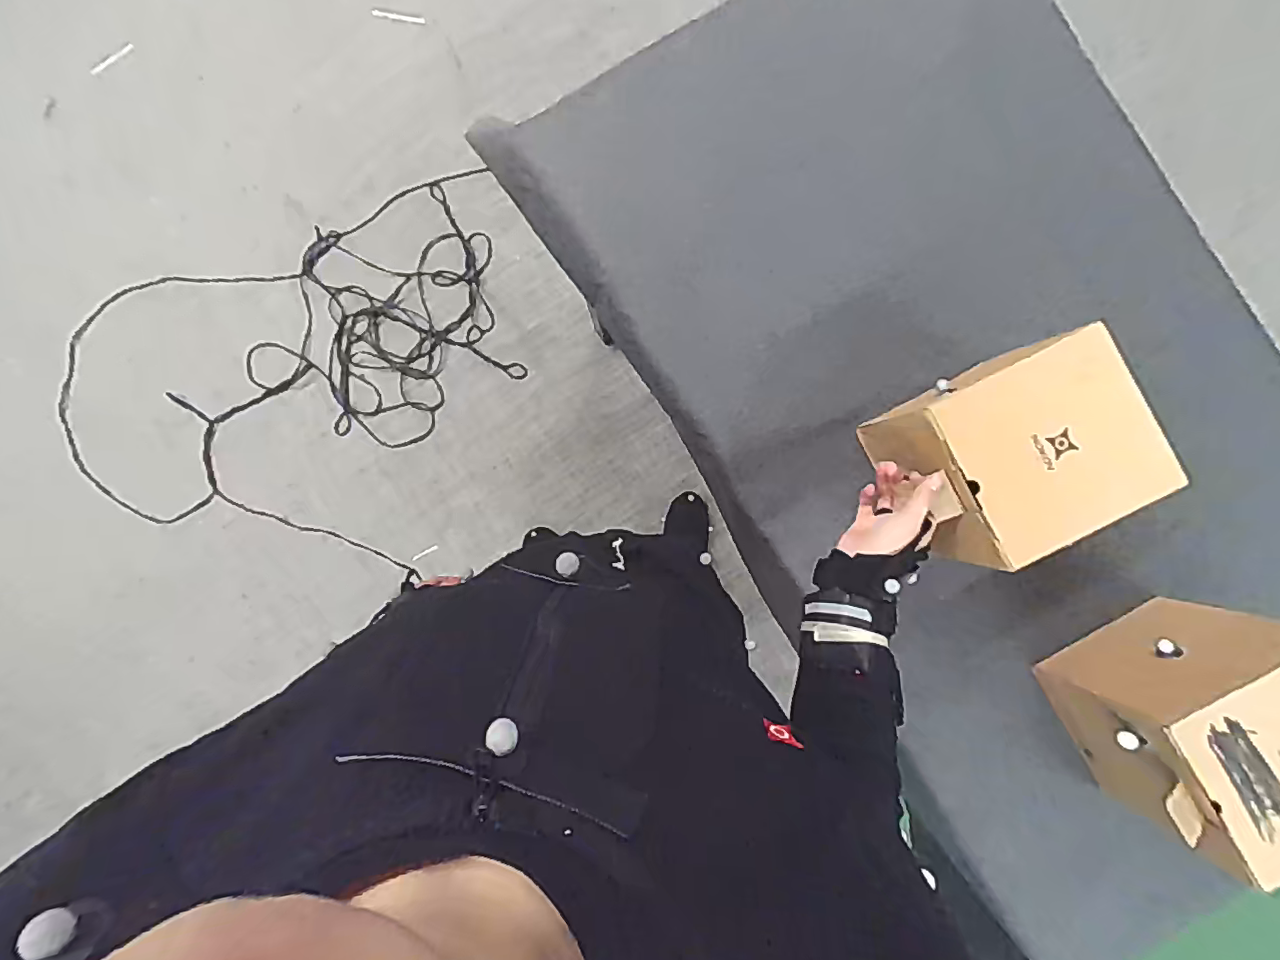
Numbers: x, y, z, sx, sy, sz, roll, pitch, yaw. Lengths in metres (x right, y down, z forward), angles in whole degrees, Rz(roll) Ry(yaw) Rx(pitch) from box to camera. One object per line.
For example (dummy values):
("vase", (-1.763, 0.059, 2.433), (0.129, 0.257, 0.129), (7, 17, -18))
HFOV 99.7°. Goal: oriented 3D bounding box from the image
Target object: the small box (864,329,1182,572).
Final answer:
("small box", (0.371, -0.027, 0.561), (0.179, 0.176, 0.168), (-27, 89, 1))
